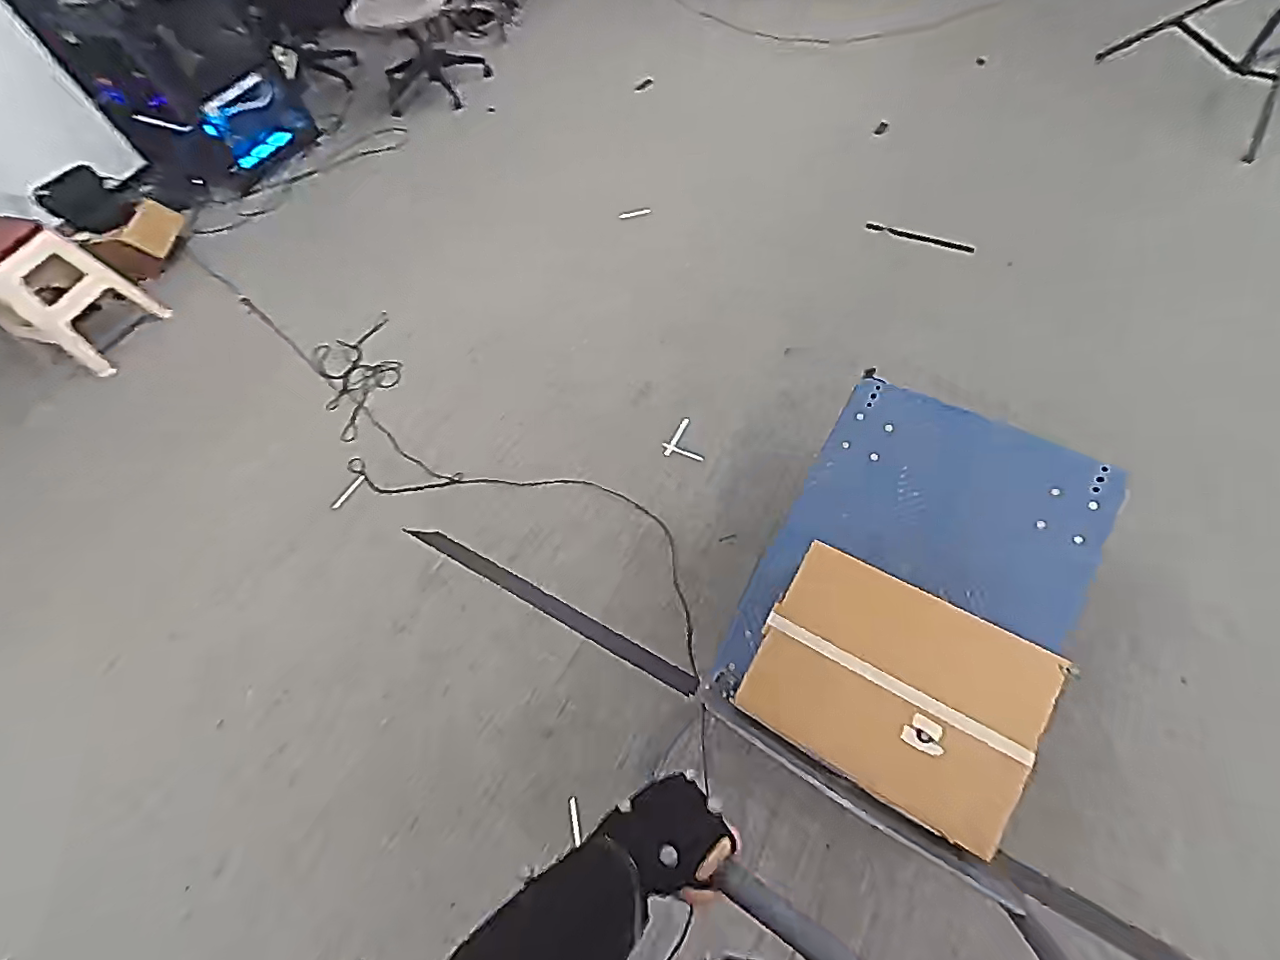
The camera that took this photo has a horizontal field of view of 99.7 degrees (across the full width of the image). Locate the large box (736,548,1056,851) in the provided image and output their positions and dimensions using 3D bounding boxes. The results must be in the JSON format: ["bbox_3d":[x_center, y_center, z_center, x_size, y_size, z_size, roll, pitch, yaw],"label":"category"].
[{"bbox_3d":[0.433,0.373,1.009,0.408,0.320,0.320,27,82,21],"label":"large box"}]
